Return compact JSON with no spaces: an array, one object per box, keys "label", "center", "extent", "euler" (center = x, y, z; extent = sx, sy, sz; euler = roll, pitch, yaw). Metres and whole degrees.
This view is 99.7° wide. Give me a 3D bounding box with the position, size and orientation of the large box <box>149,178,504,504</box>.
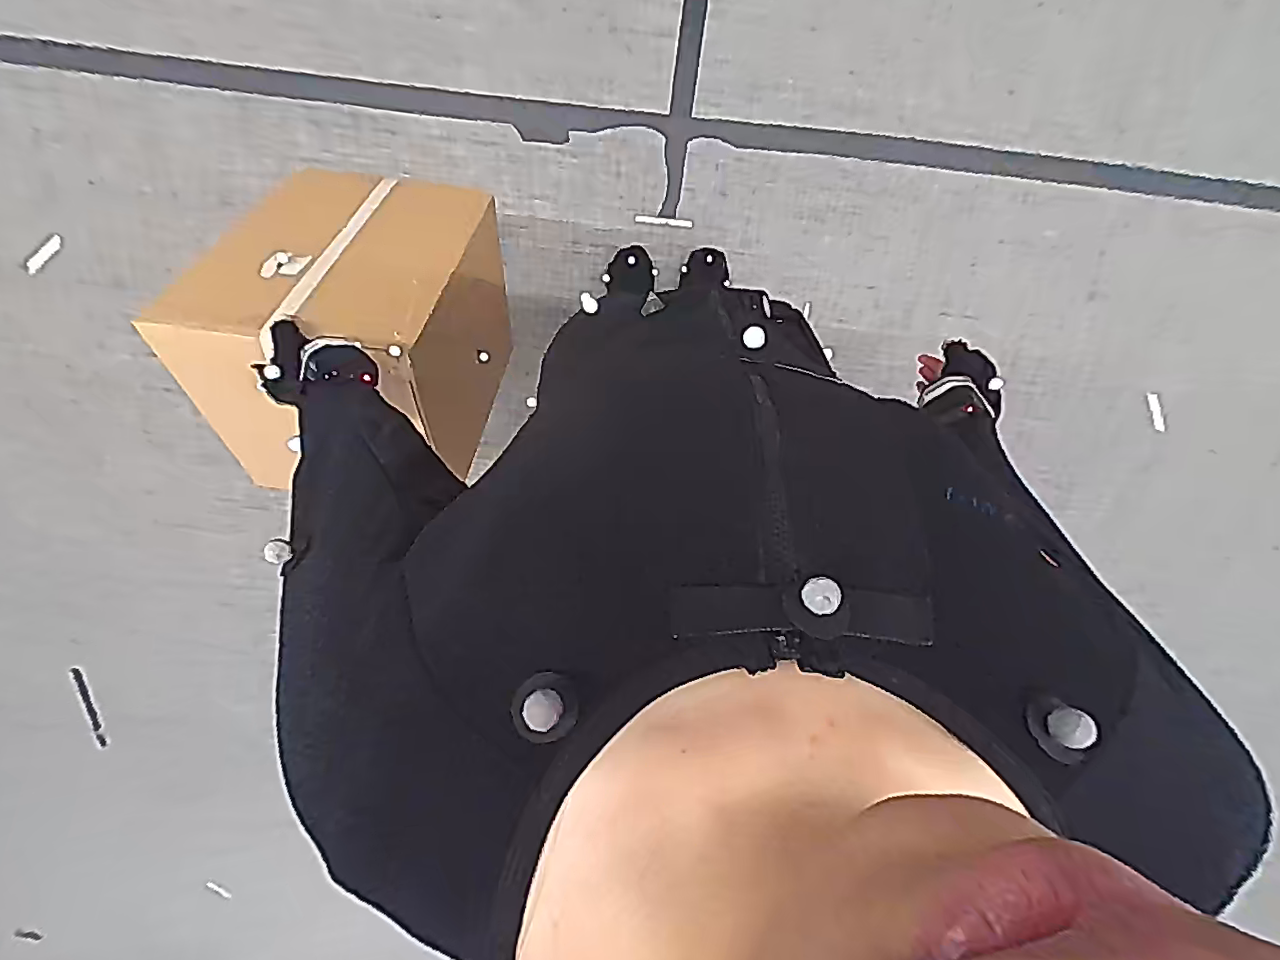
[{"label":"large box","center":[-0.425,-0.222,0.870],"extent":[0.320,0.408,0.320],"euler":[6,143,0]}]
